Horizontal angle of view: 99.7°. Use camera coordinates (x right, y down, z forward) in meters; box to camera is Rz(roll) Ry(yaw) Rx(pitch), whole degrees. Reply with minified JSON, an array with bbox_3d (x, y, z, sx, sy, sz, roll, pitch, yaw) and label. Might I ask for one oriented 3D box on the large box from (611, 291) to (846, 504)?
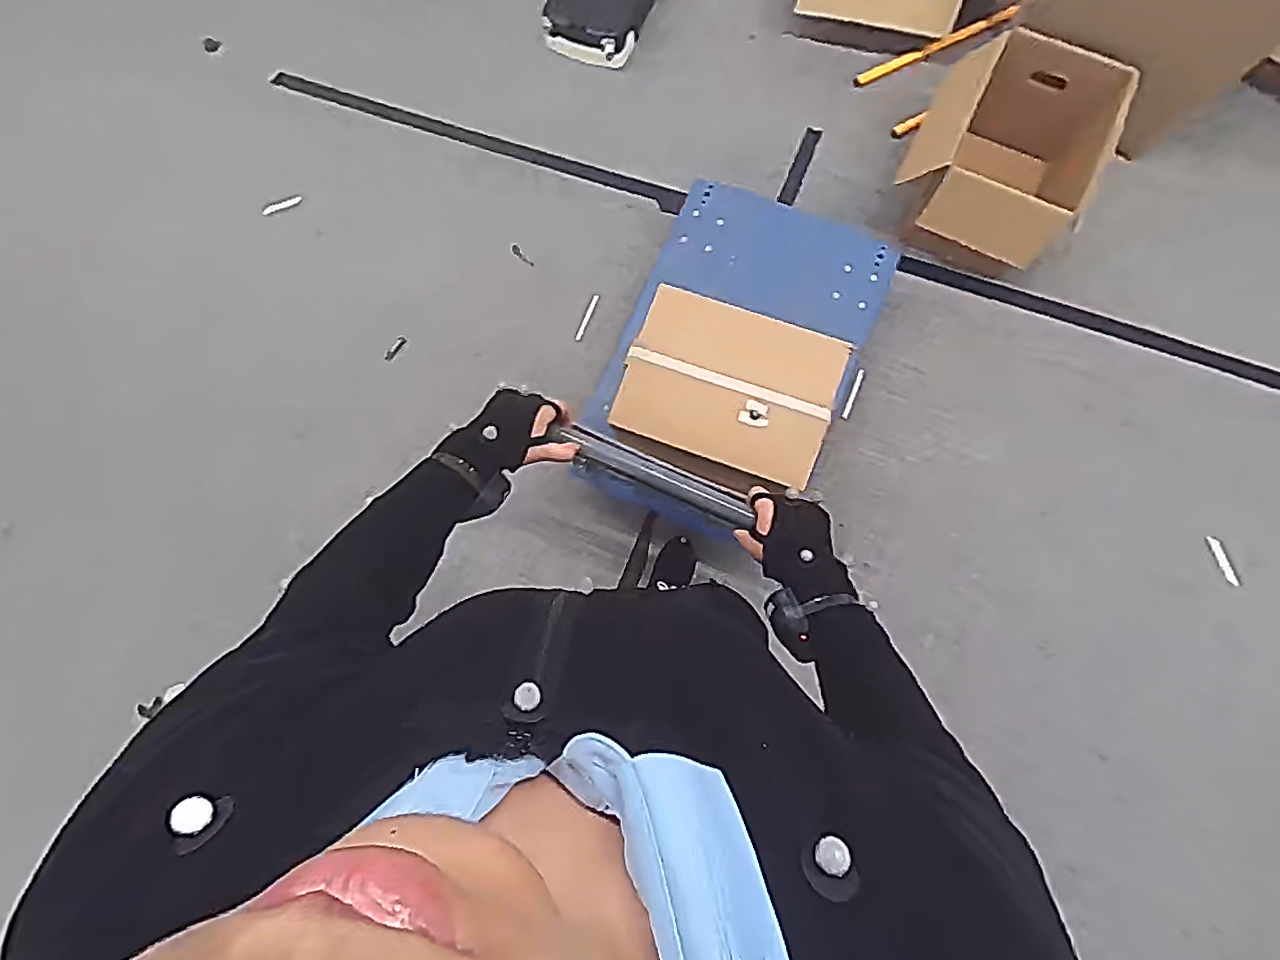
[{"bbox_3d":[0.180,-0.165,1.220,0.408,0.320,0.320,20,83,5],"label":"large box"}]
